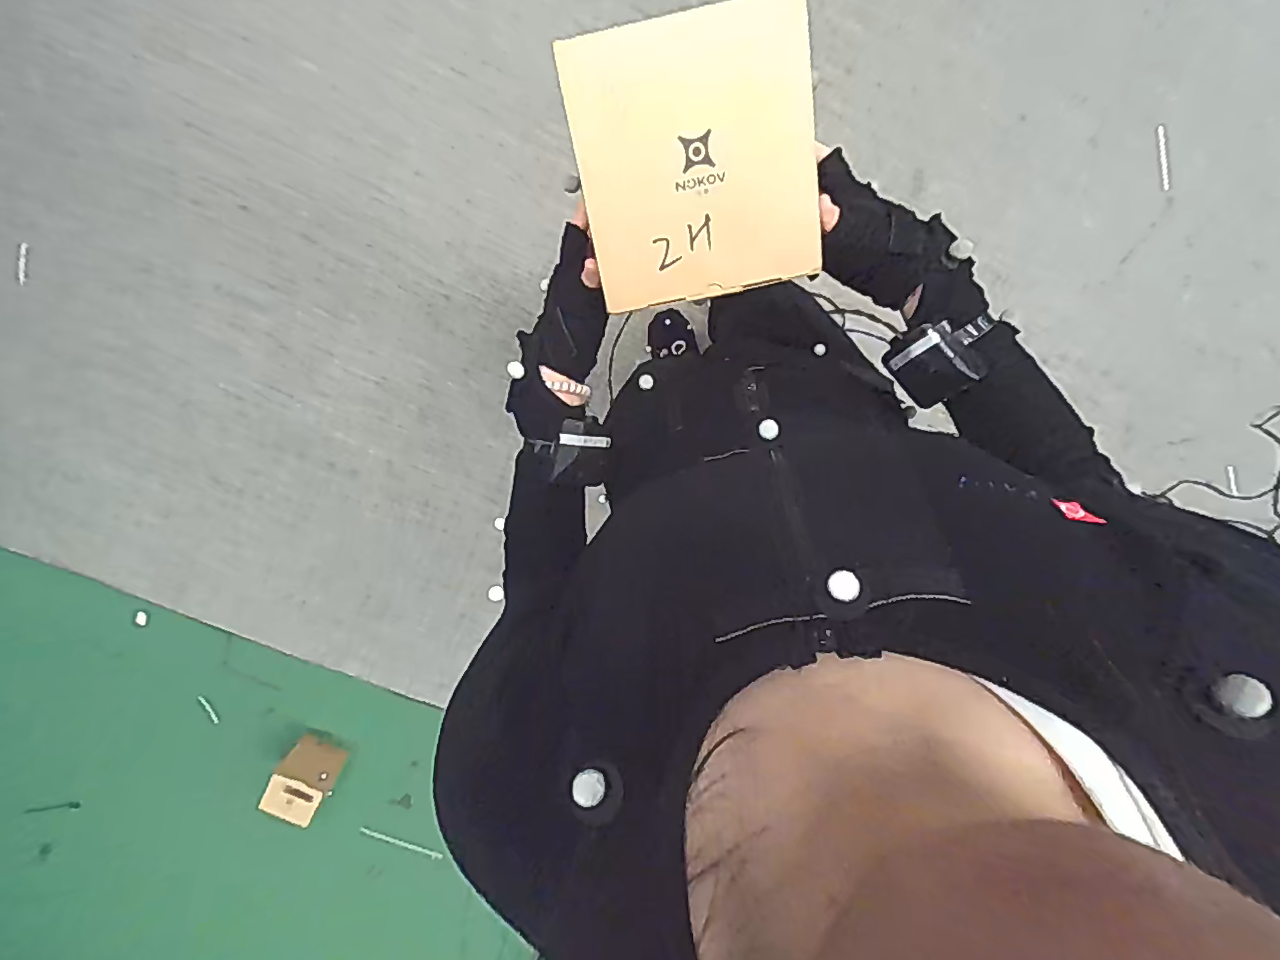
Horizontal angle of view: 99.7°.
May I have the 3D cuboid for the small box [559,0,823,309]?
[{"bbox_3d":[0.039,-0.248,0.444,0.168,0.176,0.179,-10,113,4],"label":"small box"}]
